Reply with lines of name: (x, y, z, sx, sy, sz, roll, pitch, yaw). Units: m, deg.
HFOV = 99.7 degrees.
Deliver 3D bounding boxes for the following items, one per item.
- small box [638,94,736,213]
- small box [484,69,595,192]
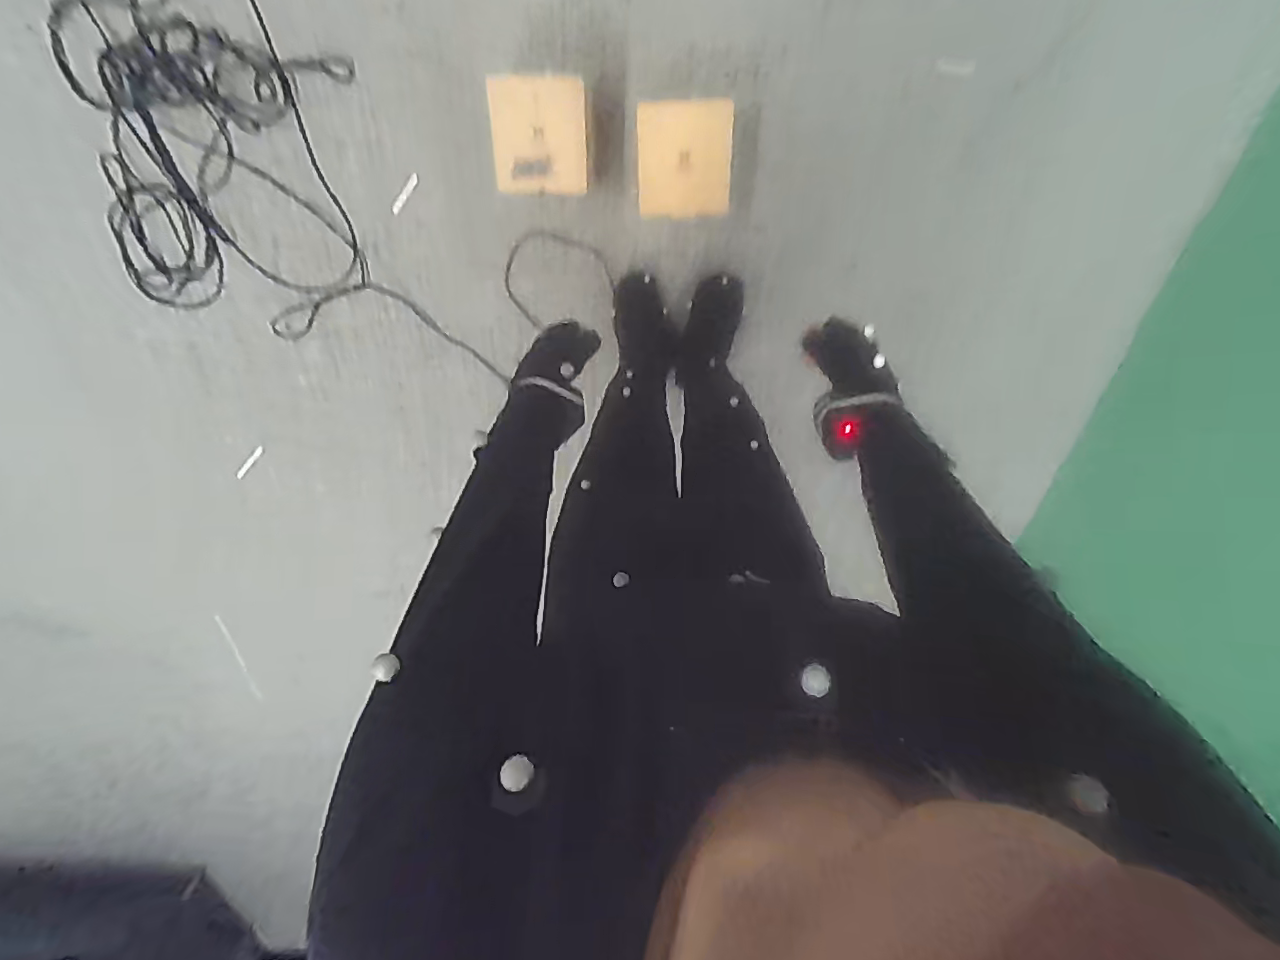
small box: (0.080, -0.607, 1.007, 0.168, 0.176, 0.179, -1, 124, 2)
small box: (-0.173, -0.637, 0.991, 0.168, 0.176, 0.179, 2, 123, 0)
